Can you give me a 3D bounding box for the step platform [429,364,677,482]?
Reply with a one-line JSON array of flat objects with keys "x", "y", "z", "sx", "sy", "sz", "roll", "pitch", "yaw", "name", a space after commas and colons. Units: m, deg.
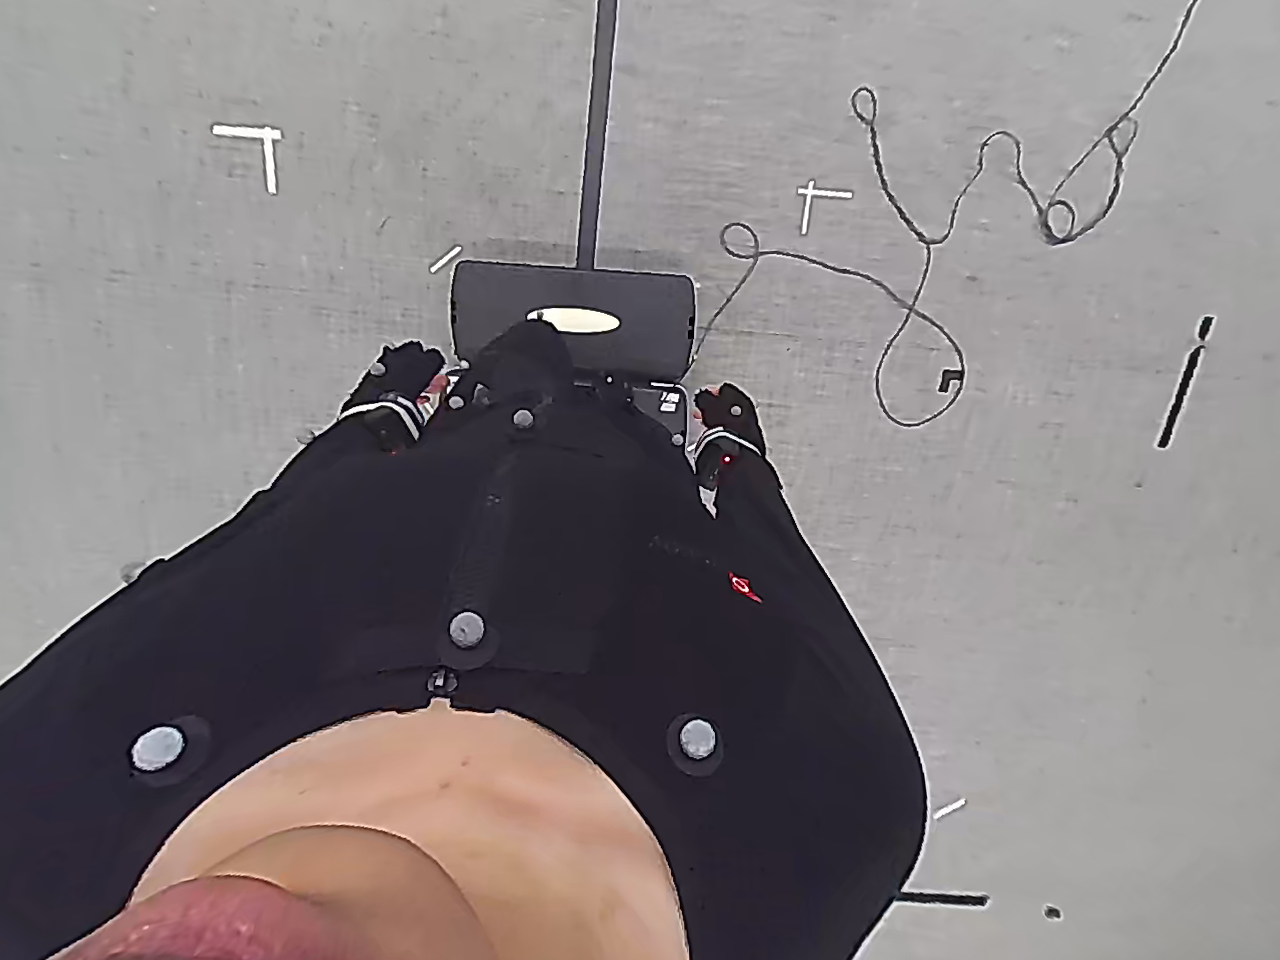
[{"x": -0.236, "y": -0.162, "z": 1.536, "sx": 0.684, "sy": 0.204, "sz": 0.286, "roll": 4, "pitch": 103, "yaw": -1, "name": "step platform"}]
